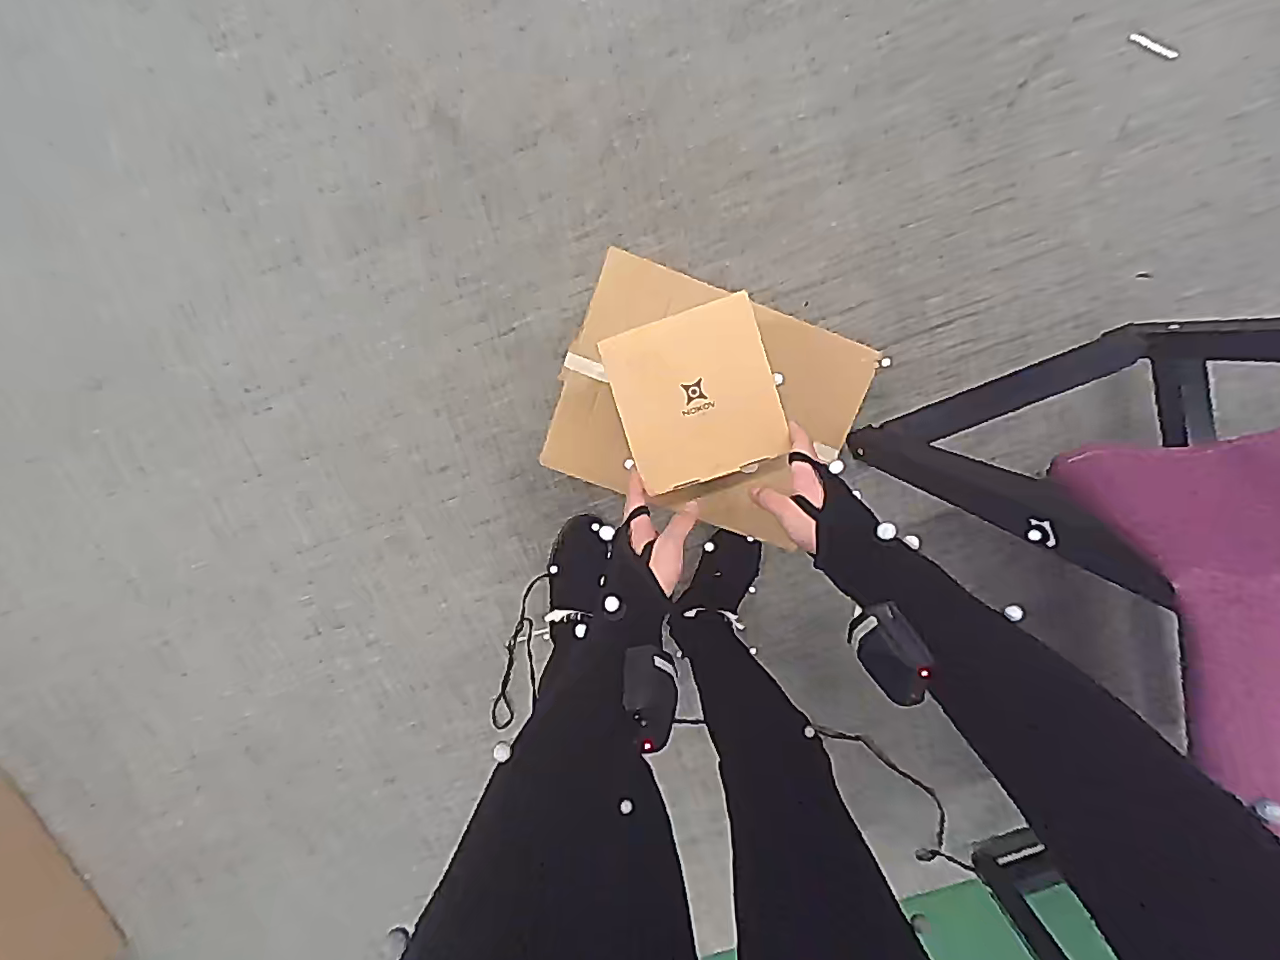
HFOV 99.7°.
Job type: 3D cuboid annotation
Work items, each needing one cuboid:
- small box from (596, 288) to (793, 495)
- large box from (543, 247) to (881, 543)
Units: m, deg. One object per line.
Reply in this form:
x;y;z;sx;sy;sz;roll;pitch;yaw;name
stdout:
0.060;-0.094;0.631;0.168;0.176;0.179;-18;93;6;small box
0.089;-0.139;0.893;0.408;0.320;0.320;19;103;-7;large box
